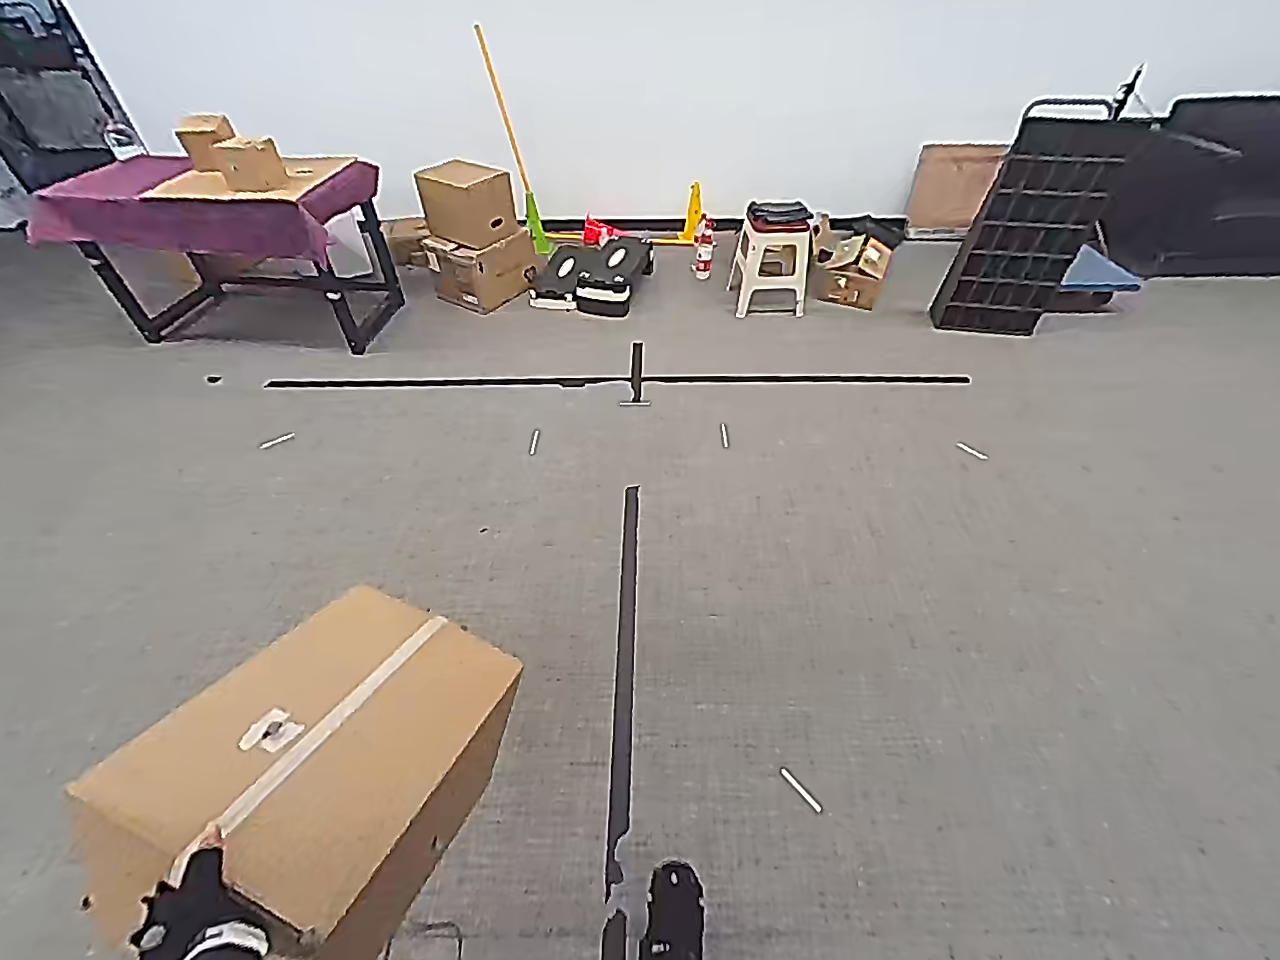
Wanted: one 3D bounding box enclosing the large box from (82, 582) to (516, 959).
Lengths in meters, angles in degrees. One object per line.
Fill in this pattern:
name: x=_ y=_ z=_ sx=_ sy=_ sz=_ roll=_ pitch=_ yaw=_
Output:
large box: x=-0.435 y=0.429 z=0.781 sx=0.320 sy=0.320 sz=0.408 roll=24 pitch=27 yaw=7
